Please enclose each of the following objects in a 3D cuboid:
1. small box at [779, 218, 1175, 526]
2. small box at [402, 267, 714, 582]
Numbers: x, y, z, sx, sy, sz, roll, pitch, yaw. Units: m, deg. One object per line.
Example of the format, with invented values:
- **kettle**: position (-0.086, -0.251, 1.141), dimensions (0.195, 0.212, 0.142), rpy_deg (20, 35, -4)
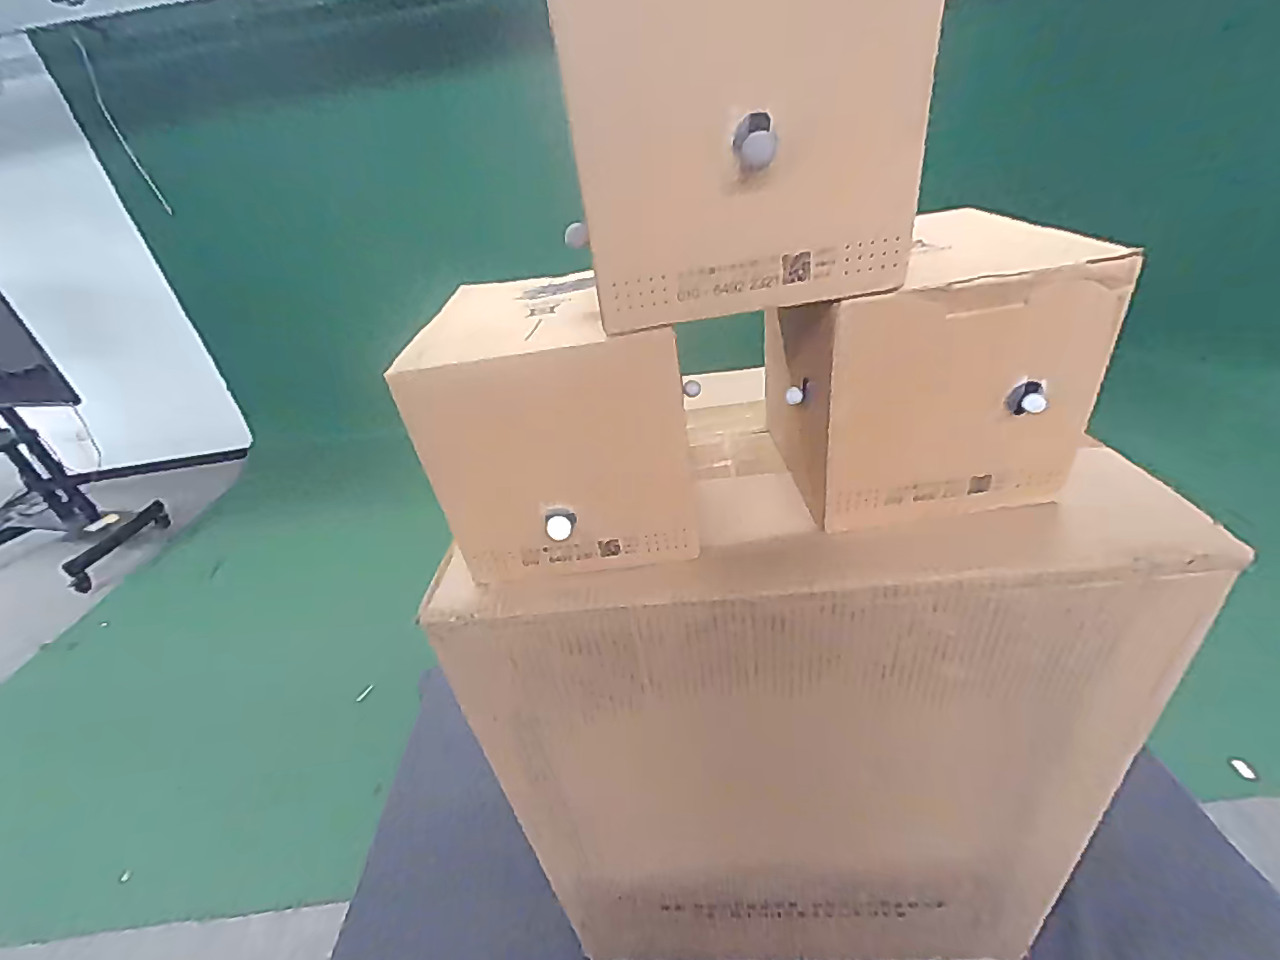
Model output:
- **small box**: position (0.207, -0.079, 0.398), dimensions (0.168, 0.176, 0.179), rpy_deg (-7, 34, 0)
- **small box**: position (-0.037, -0.048, 0.398), dimensions (0.168, 0.176, 0.179), rpy_deg (-6, 34, 7)
